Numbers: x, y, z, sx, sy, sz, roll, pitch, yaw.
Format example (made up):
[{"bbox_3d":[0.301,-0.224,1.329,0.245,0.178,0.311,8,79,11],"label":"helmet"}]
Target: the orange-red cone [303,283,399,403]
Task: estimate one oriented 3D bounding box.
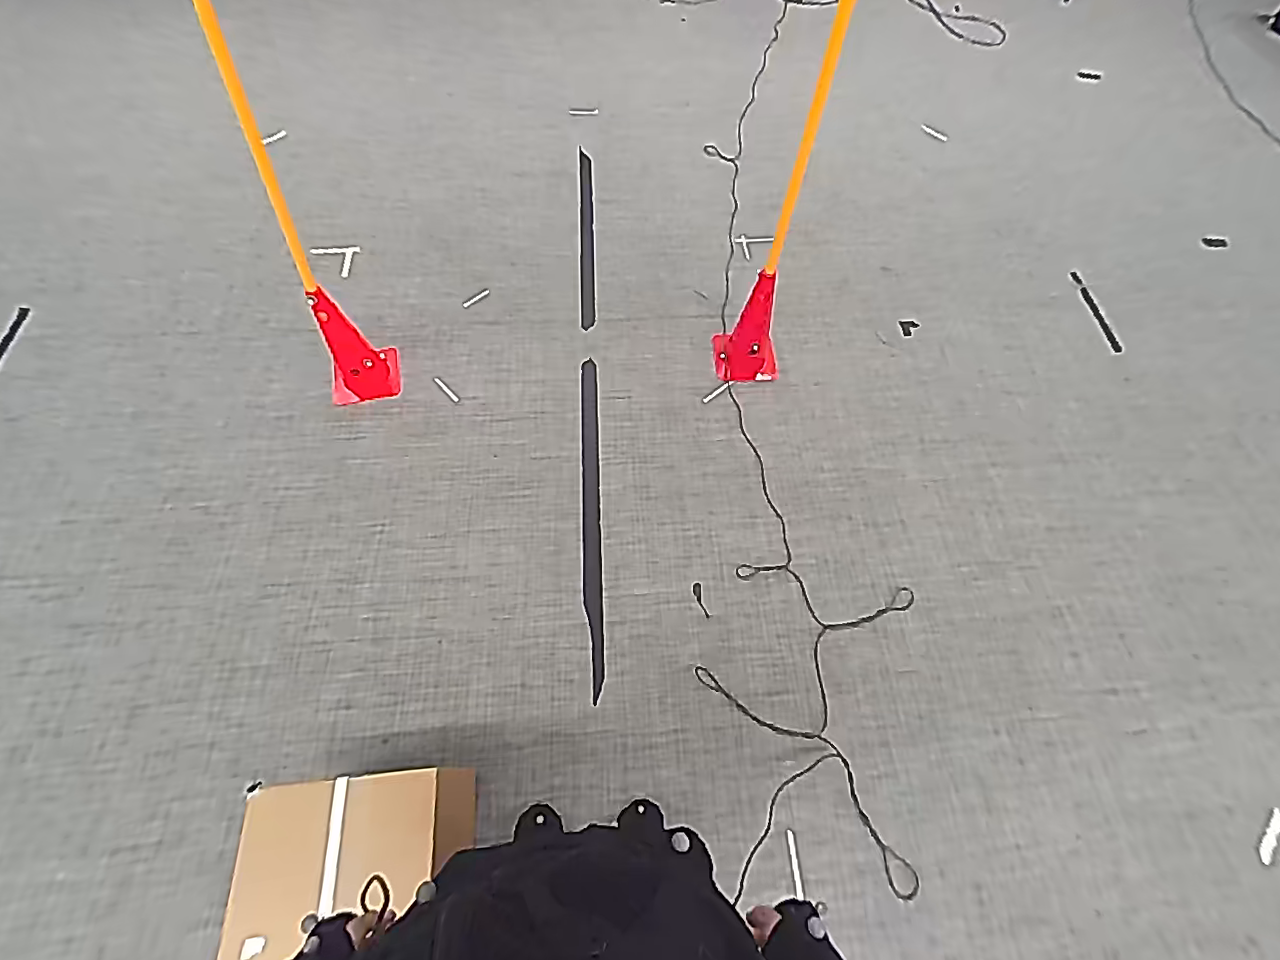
[{"bbox_3d":[-0.853,-0.409,1.540,0.199,0.360,0.198,-11,62,-7],"label":"orange-red cone"}]
